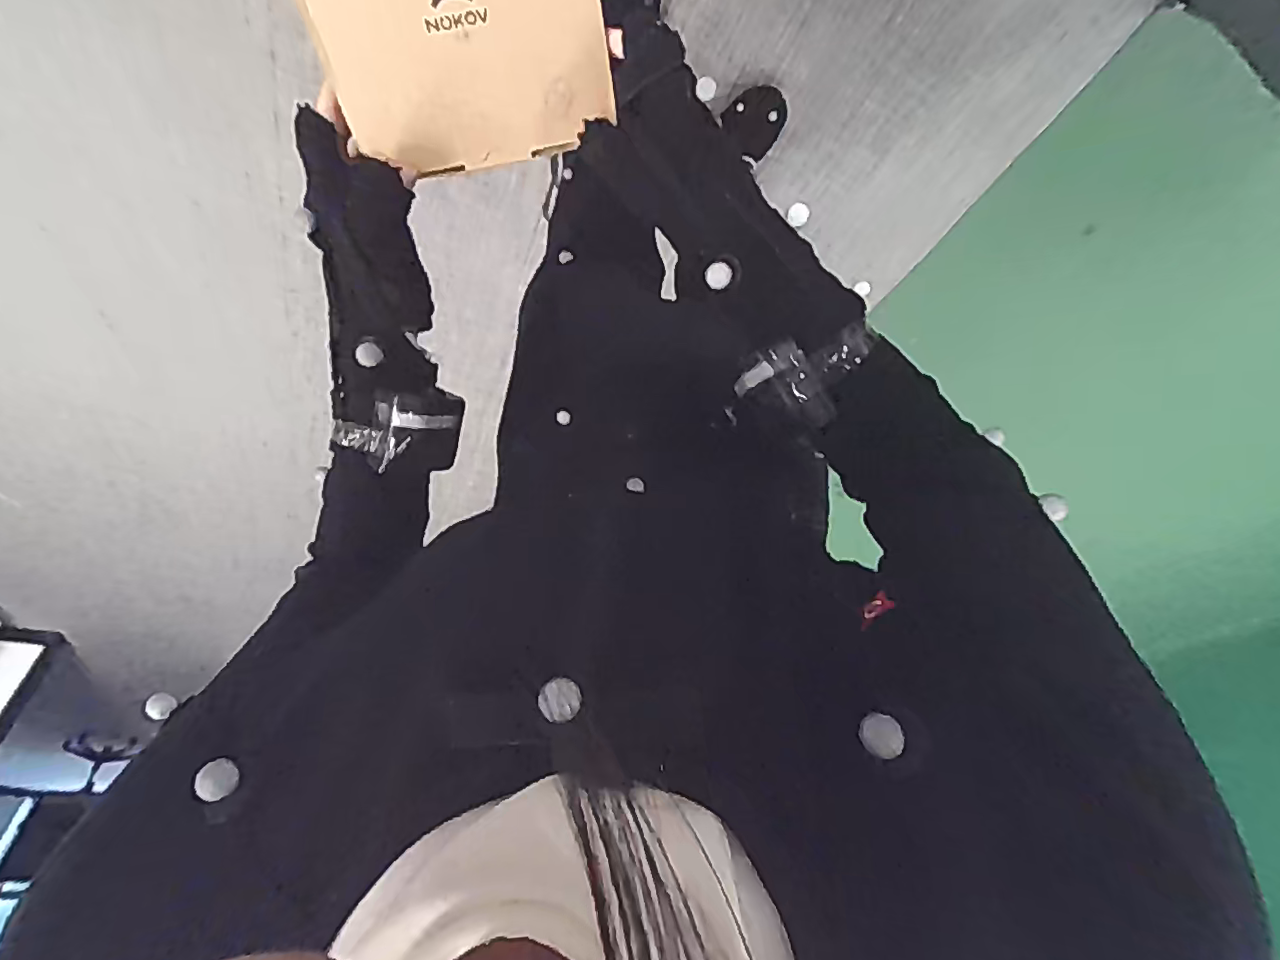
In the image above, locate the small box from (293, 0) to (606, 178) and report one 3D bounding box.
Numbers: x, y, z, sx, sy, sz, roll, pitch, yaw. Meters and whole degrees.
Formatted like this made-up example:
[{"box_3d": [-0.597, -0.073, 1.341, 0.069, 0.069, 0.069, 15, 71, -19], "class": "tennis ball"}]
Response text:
[{"box_3d": [-0.124, -0.331, 0.362, 0.168, 0.176, 0.179, -13, 130, -1], "class": "small box"}]
